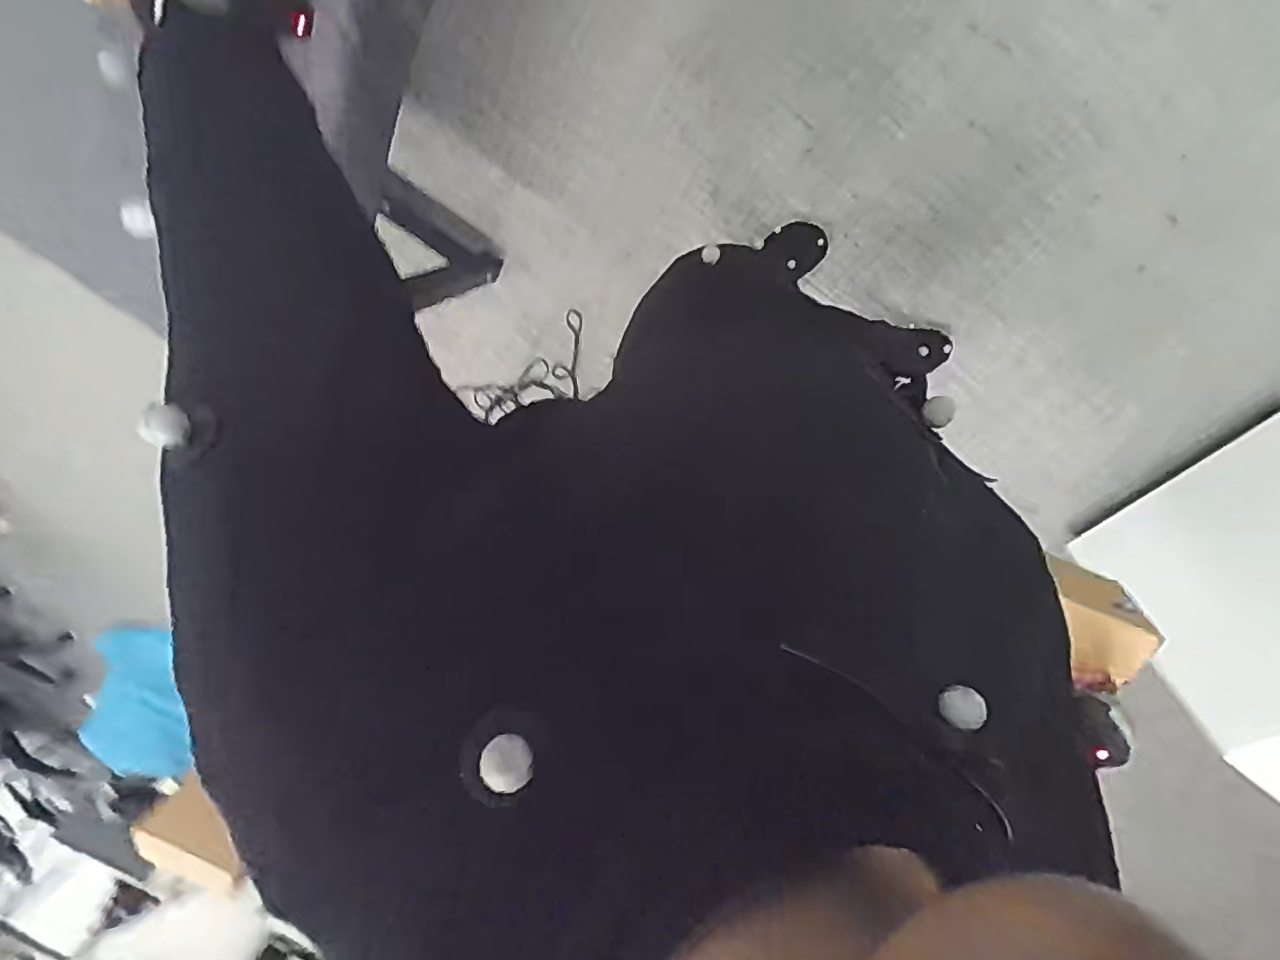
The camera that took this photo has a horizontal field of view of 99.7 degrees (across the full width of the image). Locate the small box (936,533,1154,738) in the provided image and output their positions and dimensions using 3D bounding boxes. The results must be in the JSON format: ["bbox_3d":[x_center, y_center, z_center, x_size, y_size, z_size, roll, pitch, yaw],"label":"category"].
[{"bbox_3d":[0.521,0.194,0.732,0.176,0.179,0.168,26,114,21],"label":"small box"}]
